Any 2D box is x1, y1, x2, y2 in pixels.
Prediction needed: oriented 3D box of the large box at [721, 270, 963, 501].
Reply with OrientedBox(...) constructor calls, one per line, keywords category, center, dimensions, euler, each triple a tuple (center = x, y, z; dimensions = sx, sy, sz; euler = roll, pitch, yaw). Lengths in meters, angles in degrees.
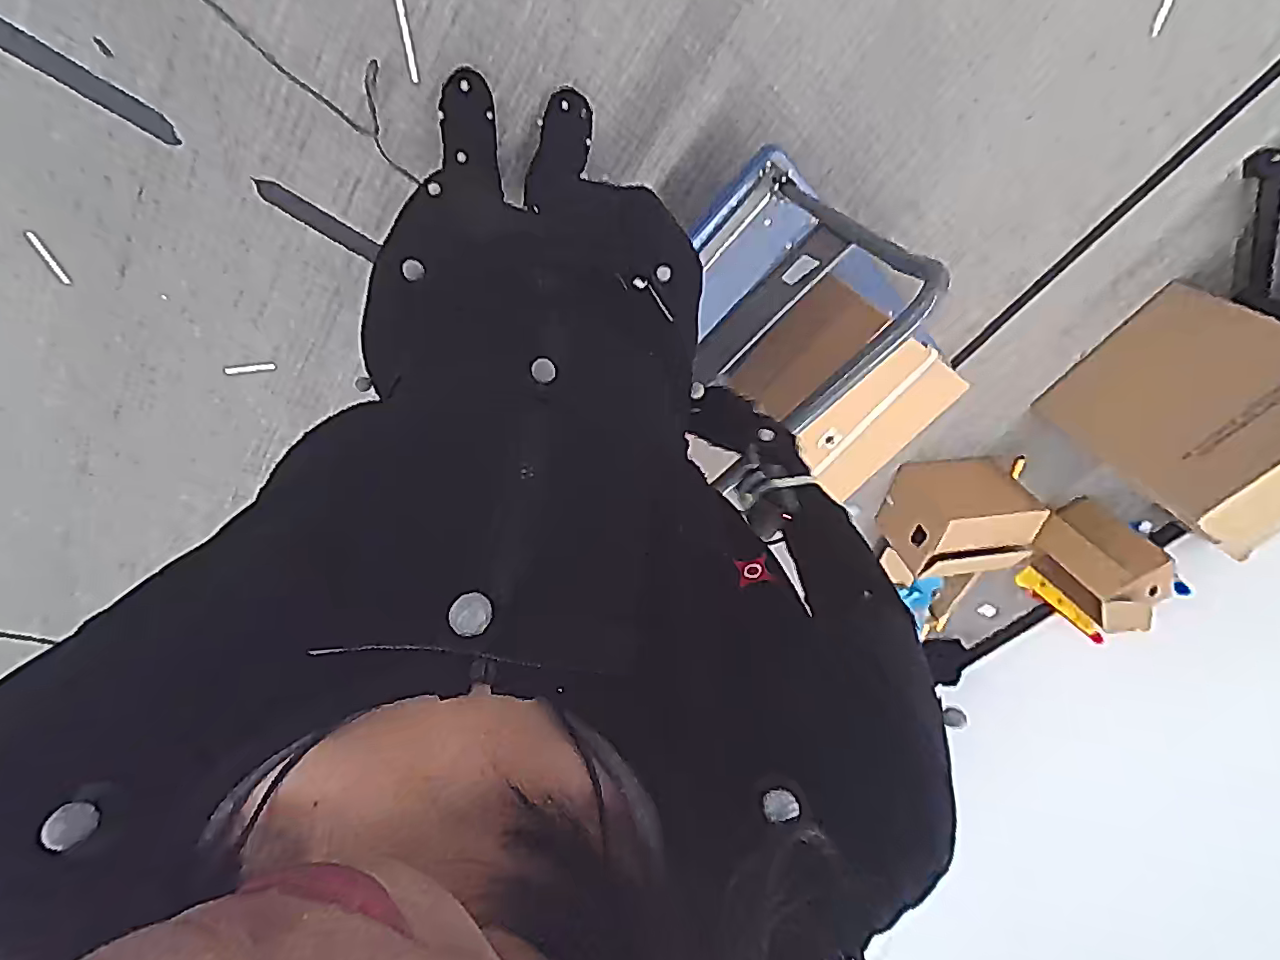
OrientedBox(category="large box", center=(0.473, -0.228, 1.341), dimensions=(0.320, 0.320, 0.408), euler=(23, 122, -28))
